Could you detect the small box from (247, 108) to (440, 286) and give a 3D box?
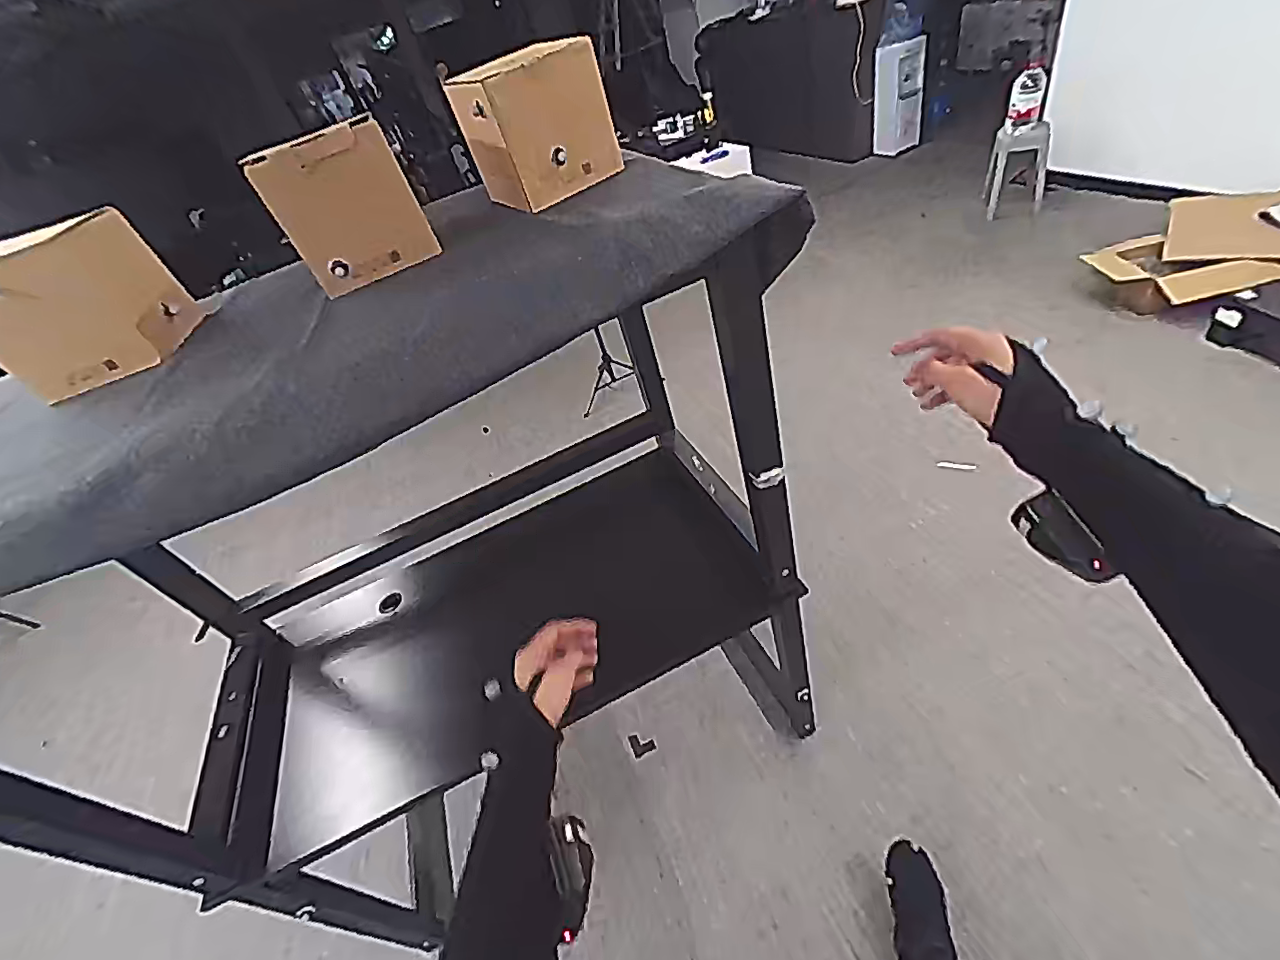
[{"bbox_3d":[-0.400,-0.393,0.756,0.168,0.176,0.179,-27,41,-9],"label":"small box"}]

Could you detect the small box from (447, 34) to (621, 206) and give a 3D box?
[{"bbox_3d":[-0.153,-0.530,0.807,0.168,0.176,0.179,-34,45,-15],"label":"small box"}]

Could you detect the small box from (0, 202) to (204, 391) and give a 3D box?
[{"bbox_3d":[-0.748,-0.247,0.731,0.168,0.176,0.179,-22,41,-4],"label":"small box"}]
